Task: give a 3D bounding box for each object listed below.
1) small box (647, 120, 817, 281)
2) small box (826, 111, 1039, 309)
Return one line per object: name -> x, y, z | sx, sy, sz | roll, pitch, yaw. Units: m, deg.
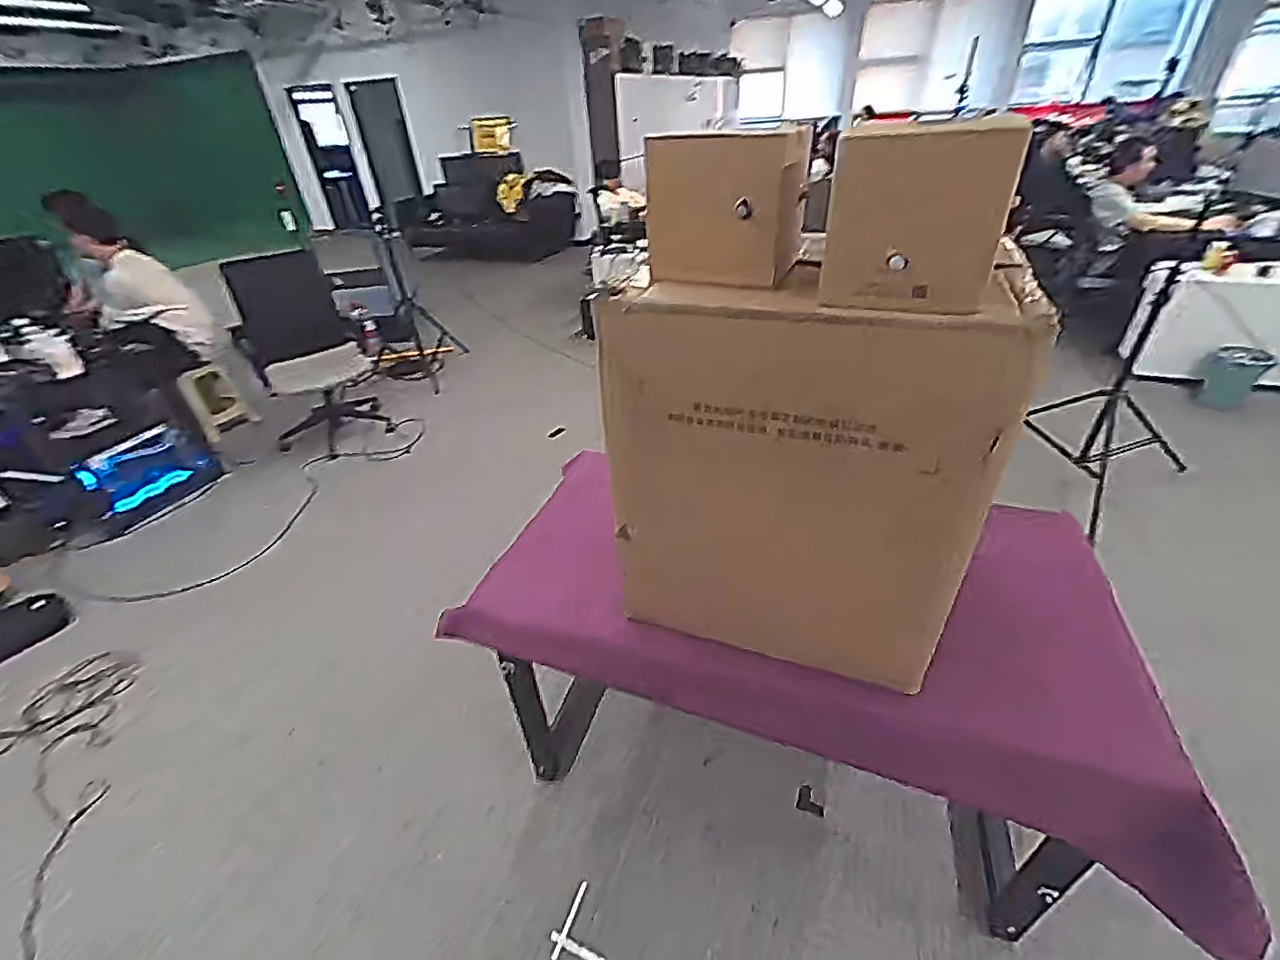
small box -> 0.122, -0.370, 0.717 | 0.179, 0.176, 0.168 | 12, 37, 21
small box -> 0.312, -0.303, 0.603 | 0.168, 0.176, 0.179 | 11, 38, 23
